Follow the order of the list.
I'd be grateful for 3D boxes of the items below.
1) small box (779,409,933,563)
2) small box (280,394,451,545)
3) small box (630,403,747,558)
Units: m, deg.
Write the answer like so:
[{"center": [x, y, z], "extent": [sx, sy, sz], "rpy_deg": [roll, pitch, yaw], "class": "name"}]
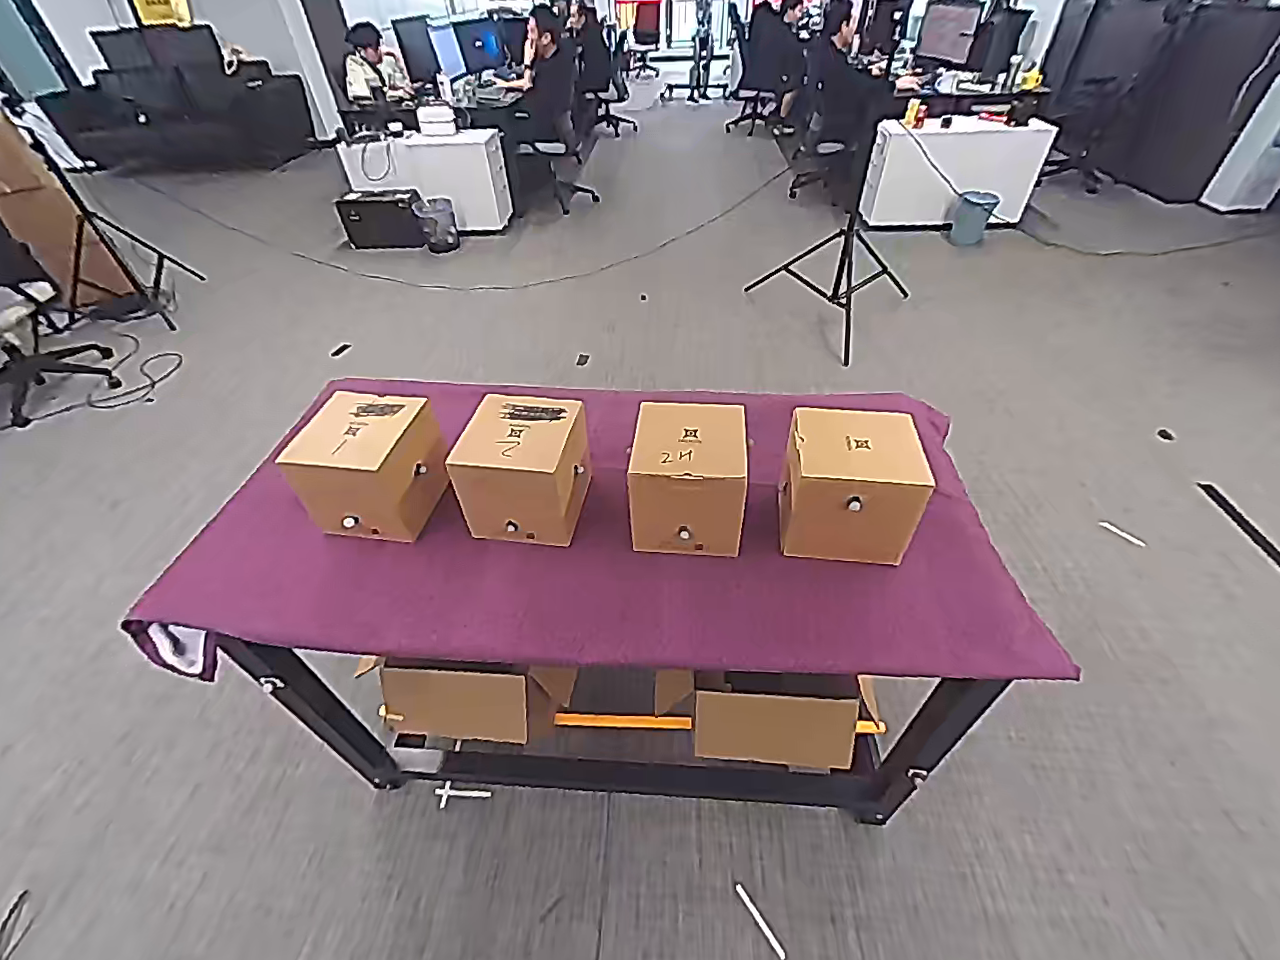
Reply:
[{"center": [0.317, 0.011, 0.834], "extent": [0.179, 0.176, 0.168], "rpy_deg": [4, 42, 8], "class": "small box"}, {"center": [-0.434, -0.018, 0.895], "extent": [0.168, 0.176, 0.179], "rpy_deg": [5, 45, 8], "class": "small box"}, {"center": [0.077, -0.001, 0.856], "extent": [0.168, 0.176, 0.179], "rpy_deg": [3, 43, 6], "class": "small box"}]
